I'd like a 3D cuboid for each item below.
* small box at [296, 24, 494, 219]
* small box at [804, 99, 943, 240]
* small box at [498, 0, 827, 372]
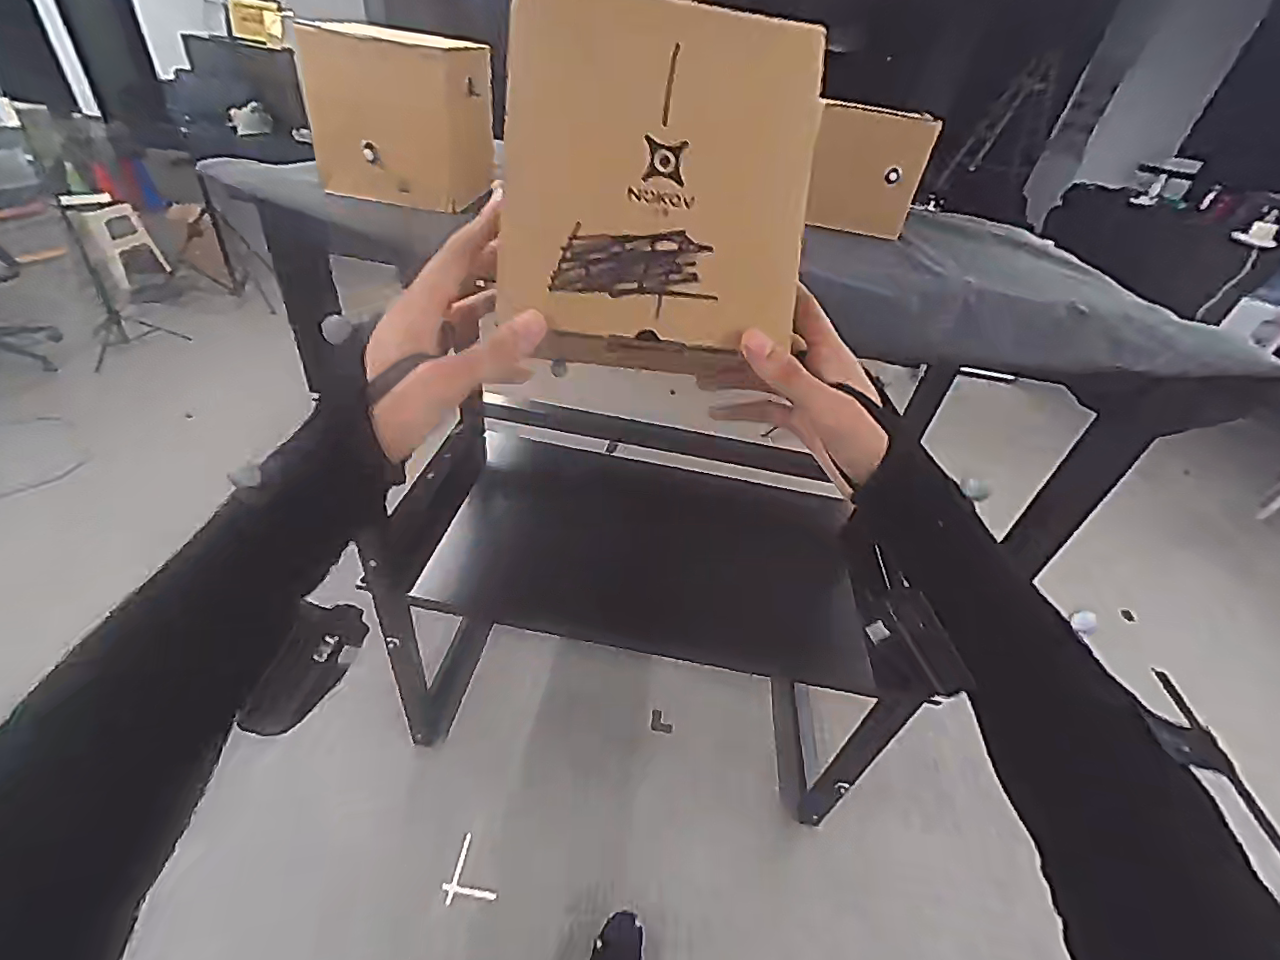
[{"bbox_3d":[-0.289,-0.451,0.684,0.168,0.176,0.179,8,39,-2],"label":"small box"},{"bbox_3d":[0.358,-0.513,0.898,0.179,0.176,0.168,12,38,3],"label":"small box"},{"bbox_3d":[0.003,-0.172,0.367,0.168,0.179,0.176,4,5,-8],"label":"small box"}]
